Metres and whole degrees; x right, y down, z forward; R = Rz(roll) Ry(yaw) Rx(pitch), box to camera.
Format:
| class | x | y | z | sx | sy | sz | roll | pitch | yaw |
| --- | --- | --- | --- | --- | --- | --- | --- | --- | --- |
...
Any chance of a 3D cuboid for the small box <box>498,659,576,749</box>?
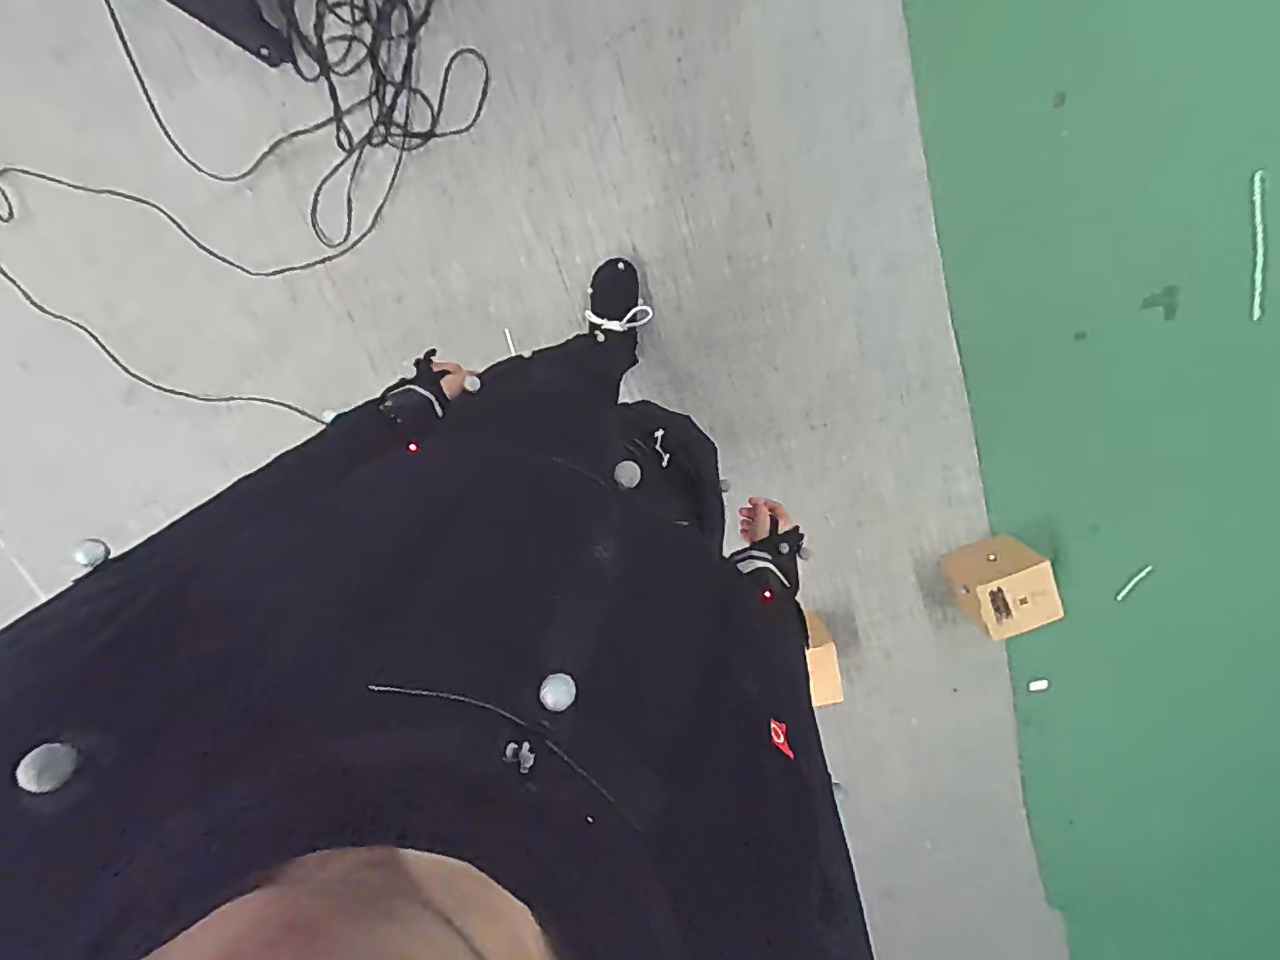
| class | x | y | z | sx | sy | sz | roll | pitch | yaw |
| --- | --- | --- | --- | --- | --- | --- | --- | --- | --- |
| small box | -0.280 | 0.615 | 1.496 | 0.179 | 0.176 | 0.168 | -1 | 108 | 1 |

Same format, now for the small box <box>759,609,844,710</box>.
| class | x | y | z | sx | sy | sz | roll | pitch | yaw |
| --- | --- | --- | --- | --- | --- | --- | --- | --- | --- |
| small box | 0.424 | 0.472 | 1.435 | 0.168 | 0.176 | 0.179 | -13 | 106 | 5 |
